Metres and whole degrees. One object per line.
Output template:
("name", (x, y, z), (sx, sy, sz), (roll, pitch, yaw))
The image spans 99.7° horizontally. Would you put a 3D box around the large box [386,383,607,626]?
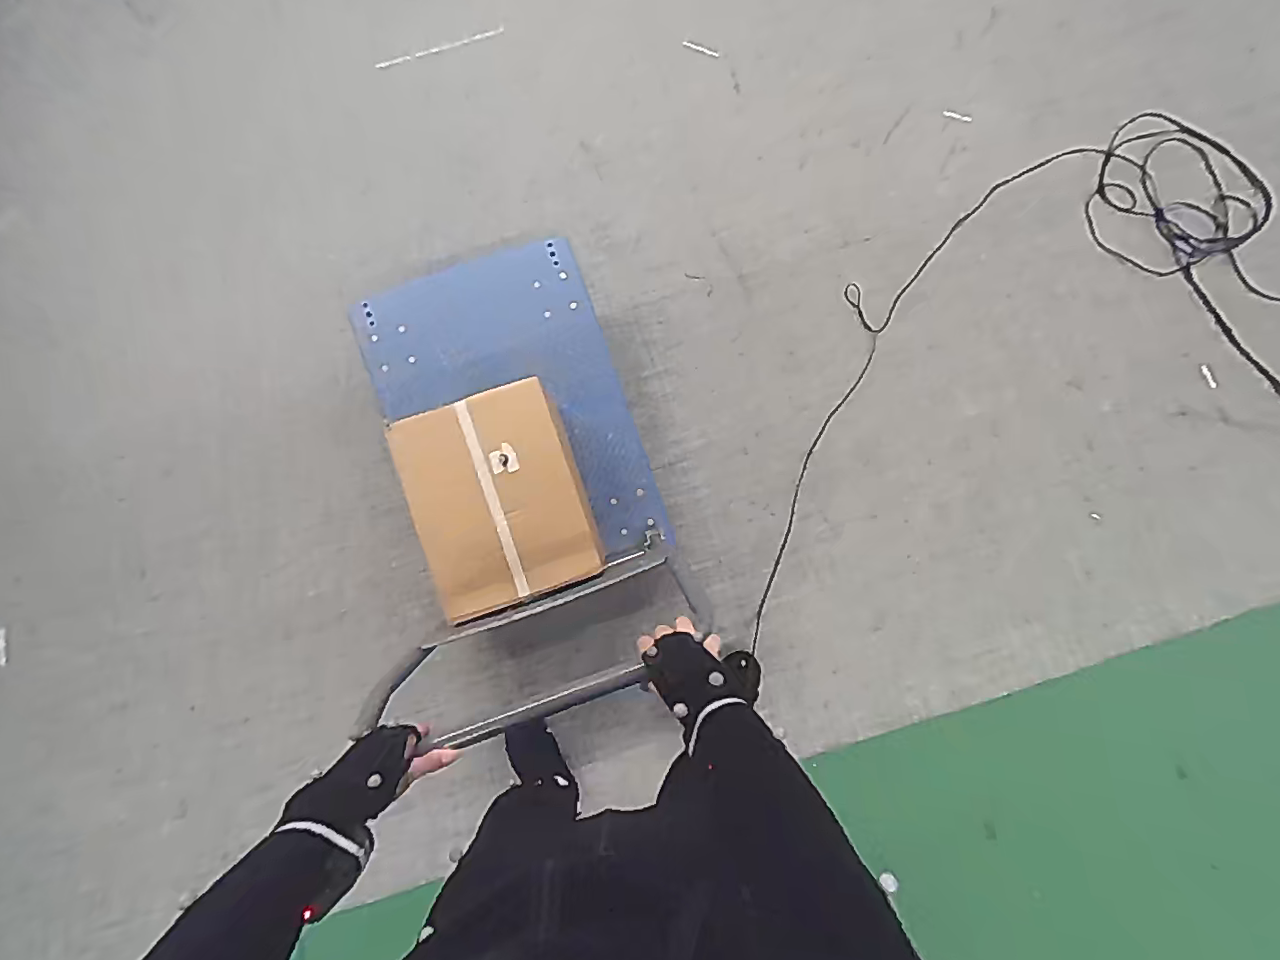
("large box", (-0.286, 0.053, 1.192), (0.320, 0.320, 0.408), (-20, 88, -4))
